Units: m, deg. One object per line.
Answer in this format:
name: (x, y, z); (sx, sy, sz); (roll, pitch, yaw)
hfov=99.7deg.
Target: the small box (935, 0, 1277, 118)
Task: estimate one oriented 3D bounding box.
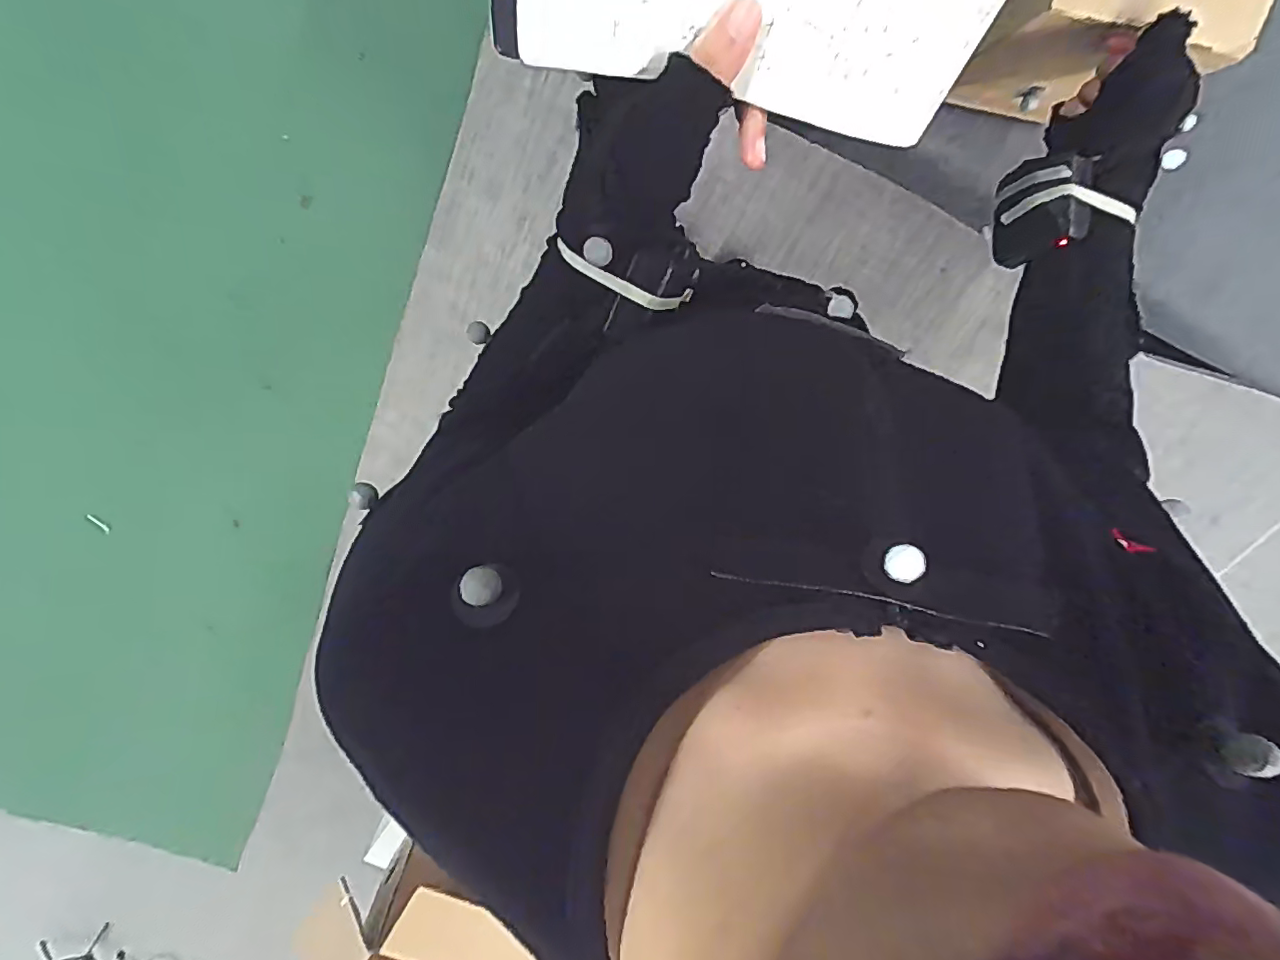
small box: (0.378, -0.432, 0.438); (0.168, 0.176, 0.179); (7, 108, -6)
